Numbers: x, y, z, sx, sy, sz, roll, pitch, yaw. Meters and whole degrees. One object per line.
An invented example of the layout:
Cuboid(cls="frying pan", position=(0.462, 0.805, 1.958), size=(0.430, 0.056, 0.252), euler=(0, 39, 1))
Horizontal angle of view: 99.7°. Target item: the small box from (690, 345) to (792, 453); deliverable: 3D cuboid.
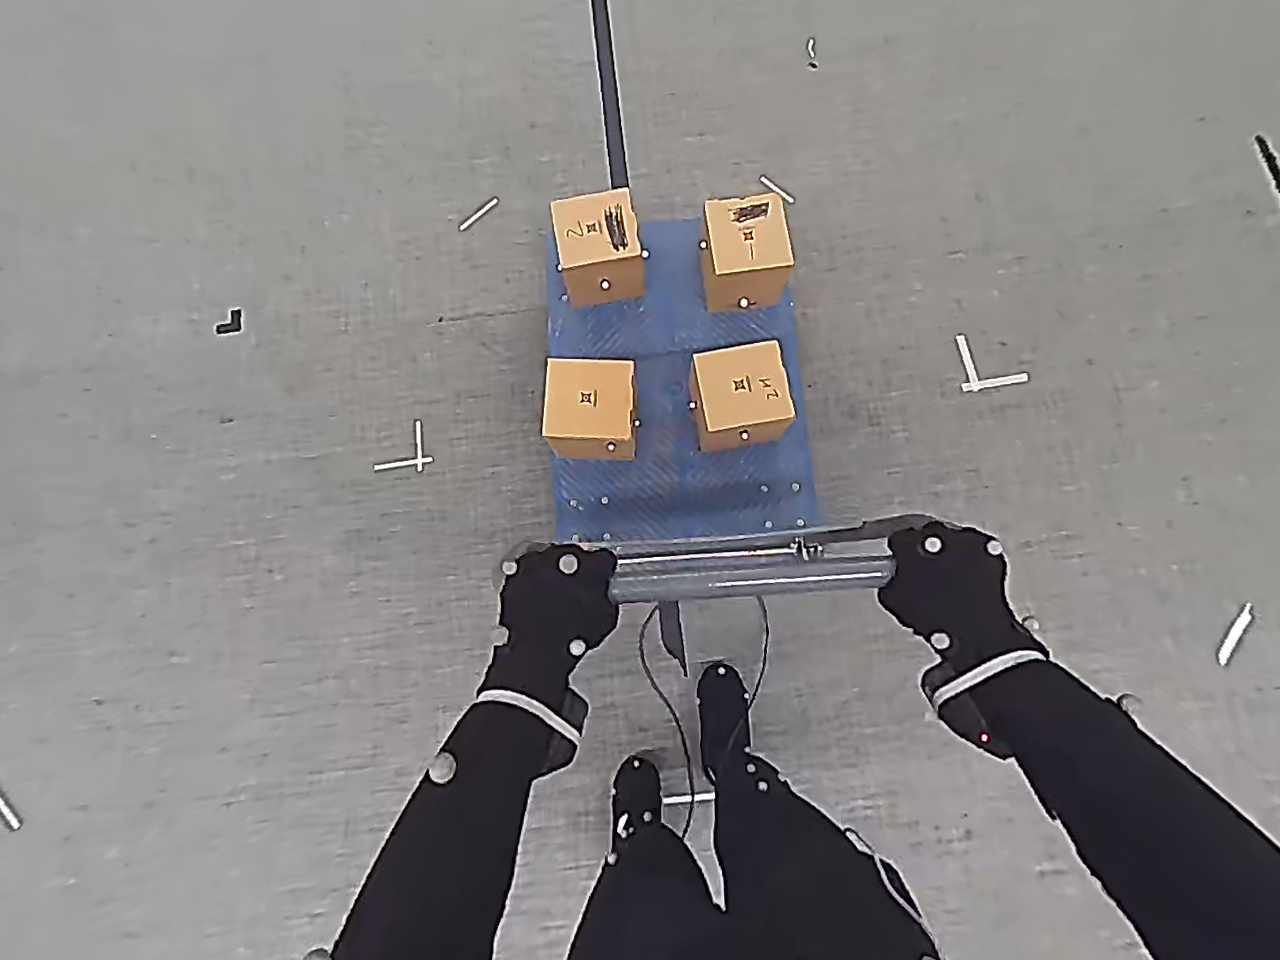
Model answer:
Cuboid(cls="small box", position=(0.203, -0.164, 1.148), size=(0.179, 0.176, 0.168), euler=(-10, 78, 0))

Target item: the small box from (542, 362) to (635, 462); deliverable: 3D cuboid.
Cuboid(cls="small box", position=(-0.102, -0.138, 1.152), size=(0.179, 0.176, 0.168), euler=(2, 78, 1))

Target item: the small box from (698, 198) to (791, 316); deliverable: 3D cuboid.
Cuboid(cls="small box", position=(0.226, -0.495, 1.216), size=(0.168, 0.176, 0.179), euler=(-7, 79, 0))
